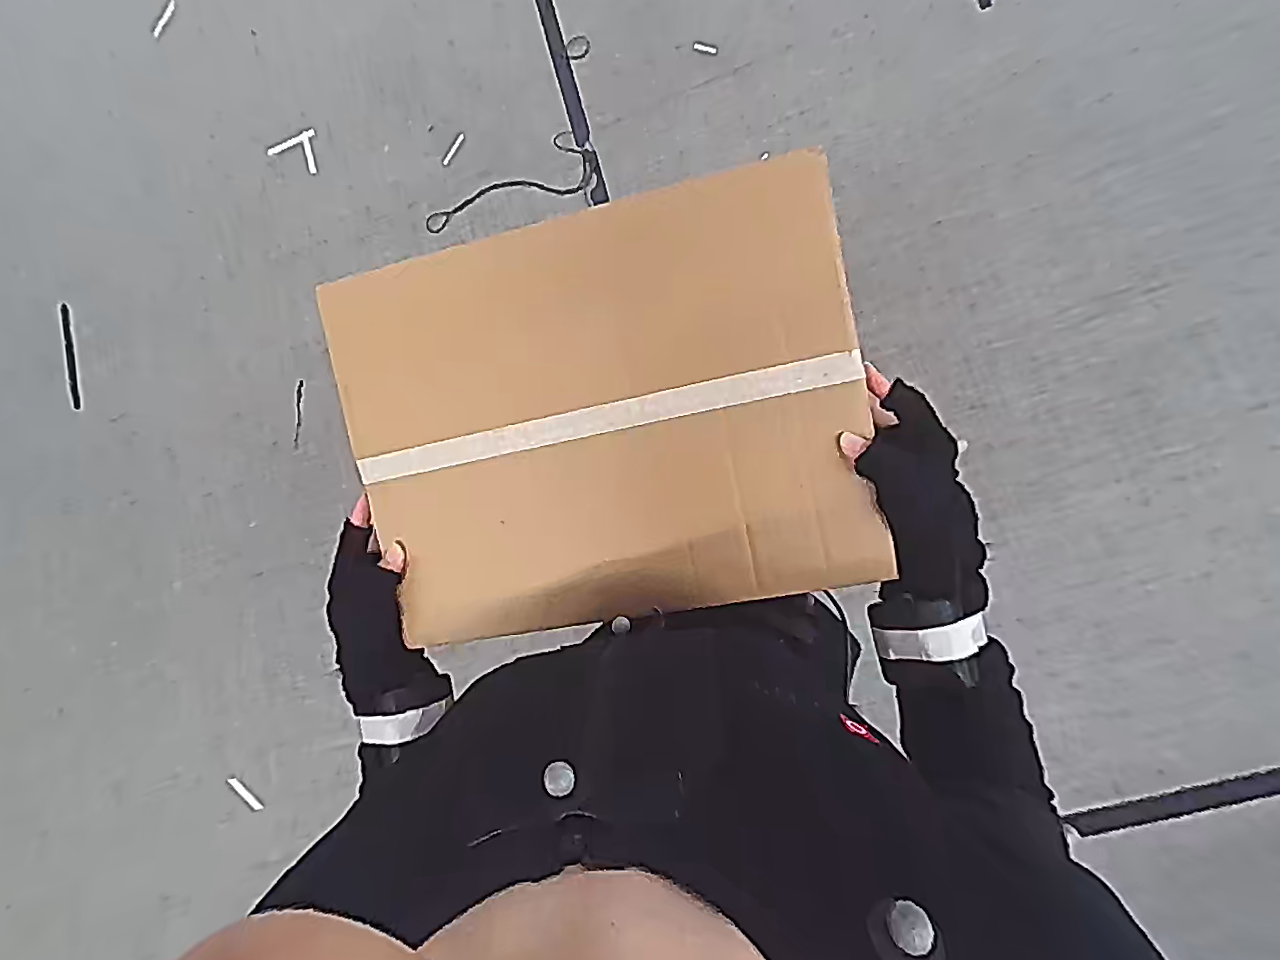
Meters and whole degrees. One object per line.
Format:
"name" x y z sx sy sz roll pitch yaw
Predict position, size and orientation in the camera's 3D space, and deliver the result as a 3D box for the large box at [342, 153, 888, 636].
"large box" -0.011 -0.062 0.577 0.408 0.320 0.320 -11 95 10
